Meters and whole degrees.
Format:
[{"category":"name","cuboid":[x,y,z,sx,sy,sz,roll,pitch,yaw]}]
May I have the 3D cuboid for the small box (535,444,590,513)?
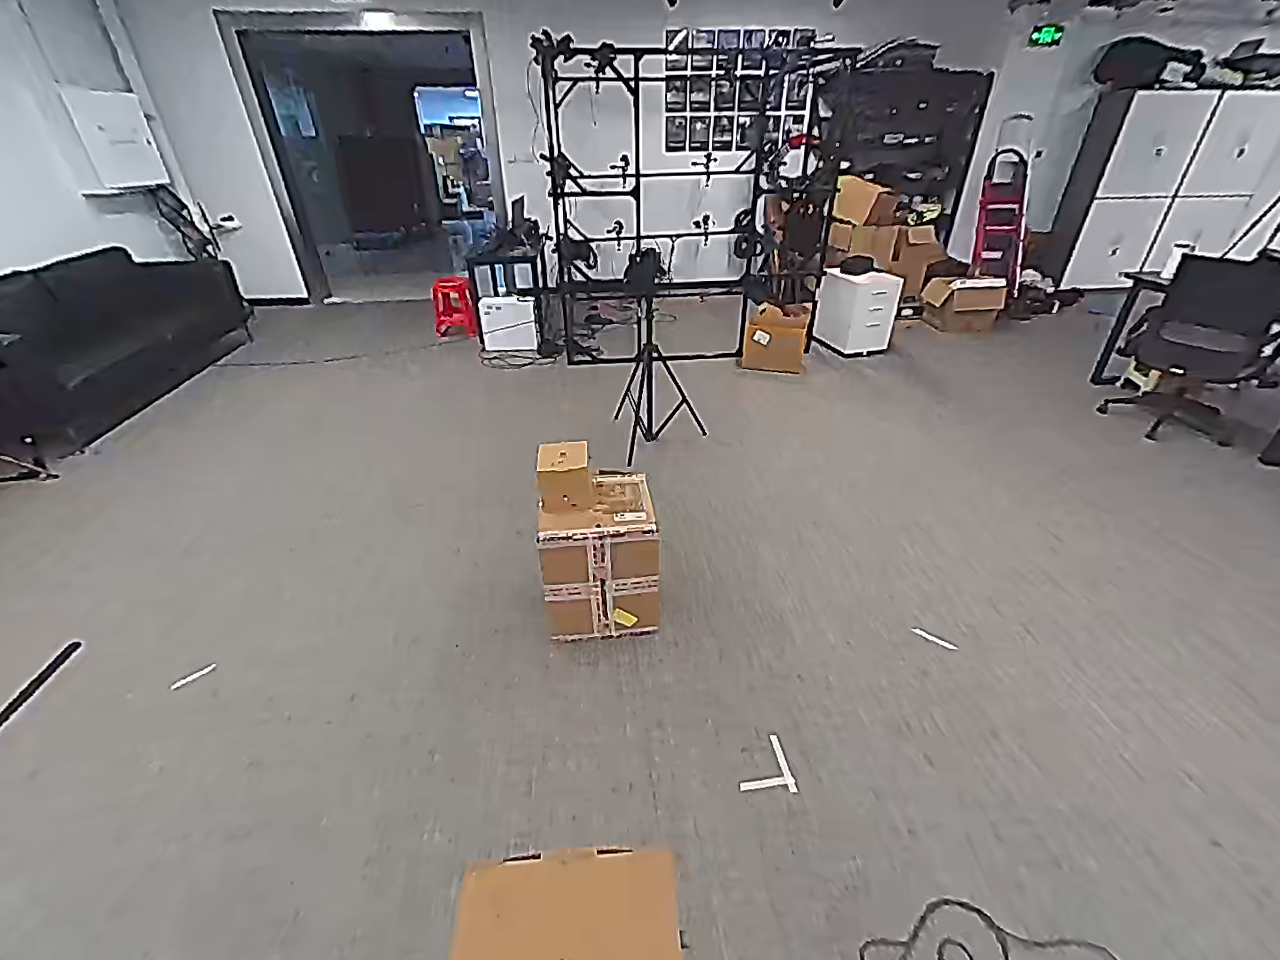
[{"category":"small box","cuboid":[-0.261,-0.006,1.852,0.168,0.176,0.179,-5,35,-3]}]
